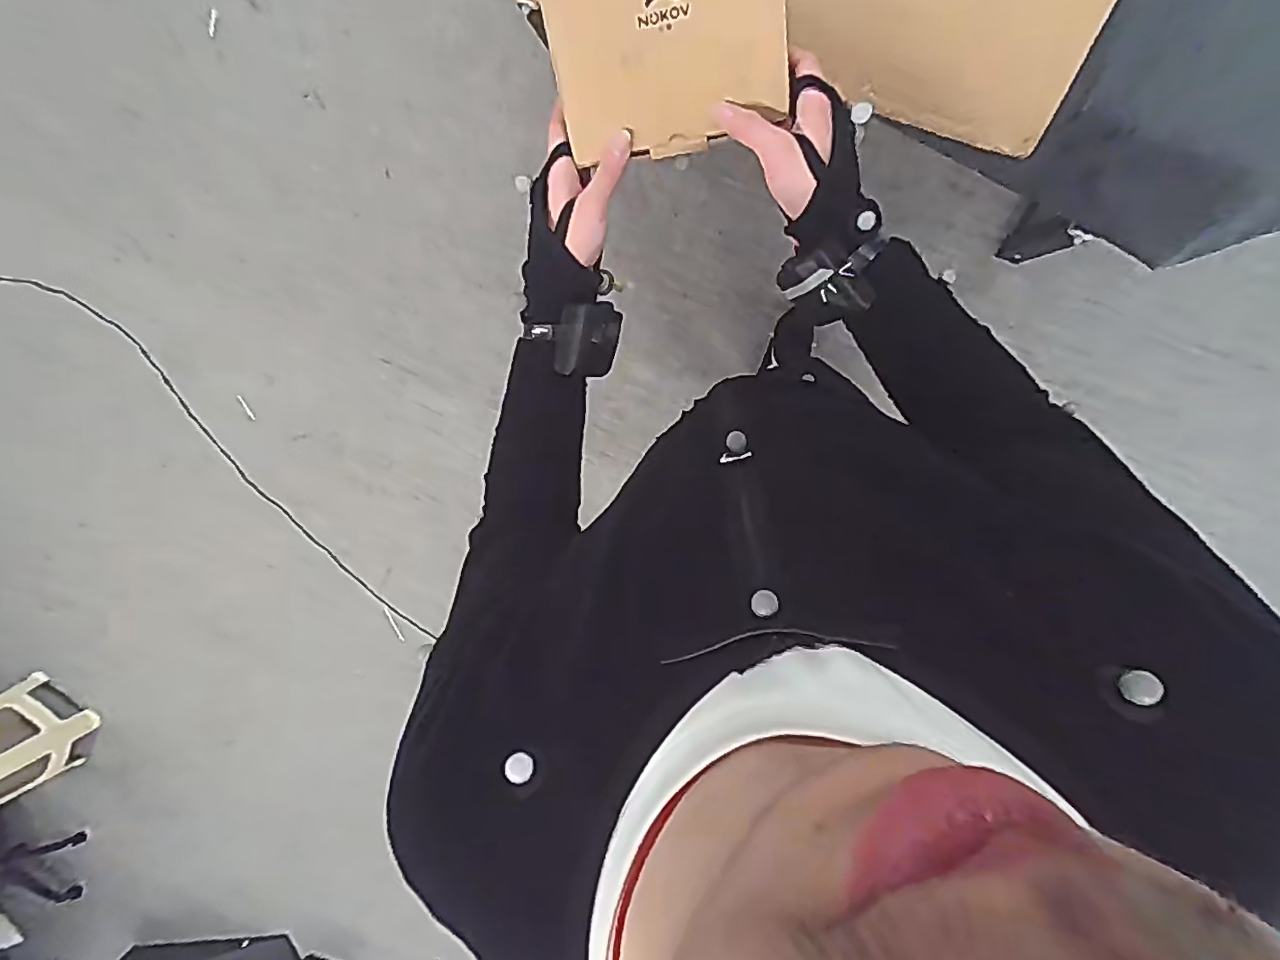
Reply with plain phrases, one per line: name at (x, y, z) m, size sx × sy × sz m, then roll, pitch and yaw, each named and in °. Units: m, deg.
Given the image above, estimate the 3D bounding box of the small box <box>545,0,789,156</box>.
small box at (0.023, -0.380, 0.437) m, size 0.168 × 0.176 × 0.179 m, roll -8°, pitch 119°, yaw 11°
